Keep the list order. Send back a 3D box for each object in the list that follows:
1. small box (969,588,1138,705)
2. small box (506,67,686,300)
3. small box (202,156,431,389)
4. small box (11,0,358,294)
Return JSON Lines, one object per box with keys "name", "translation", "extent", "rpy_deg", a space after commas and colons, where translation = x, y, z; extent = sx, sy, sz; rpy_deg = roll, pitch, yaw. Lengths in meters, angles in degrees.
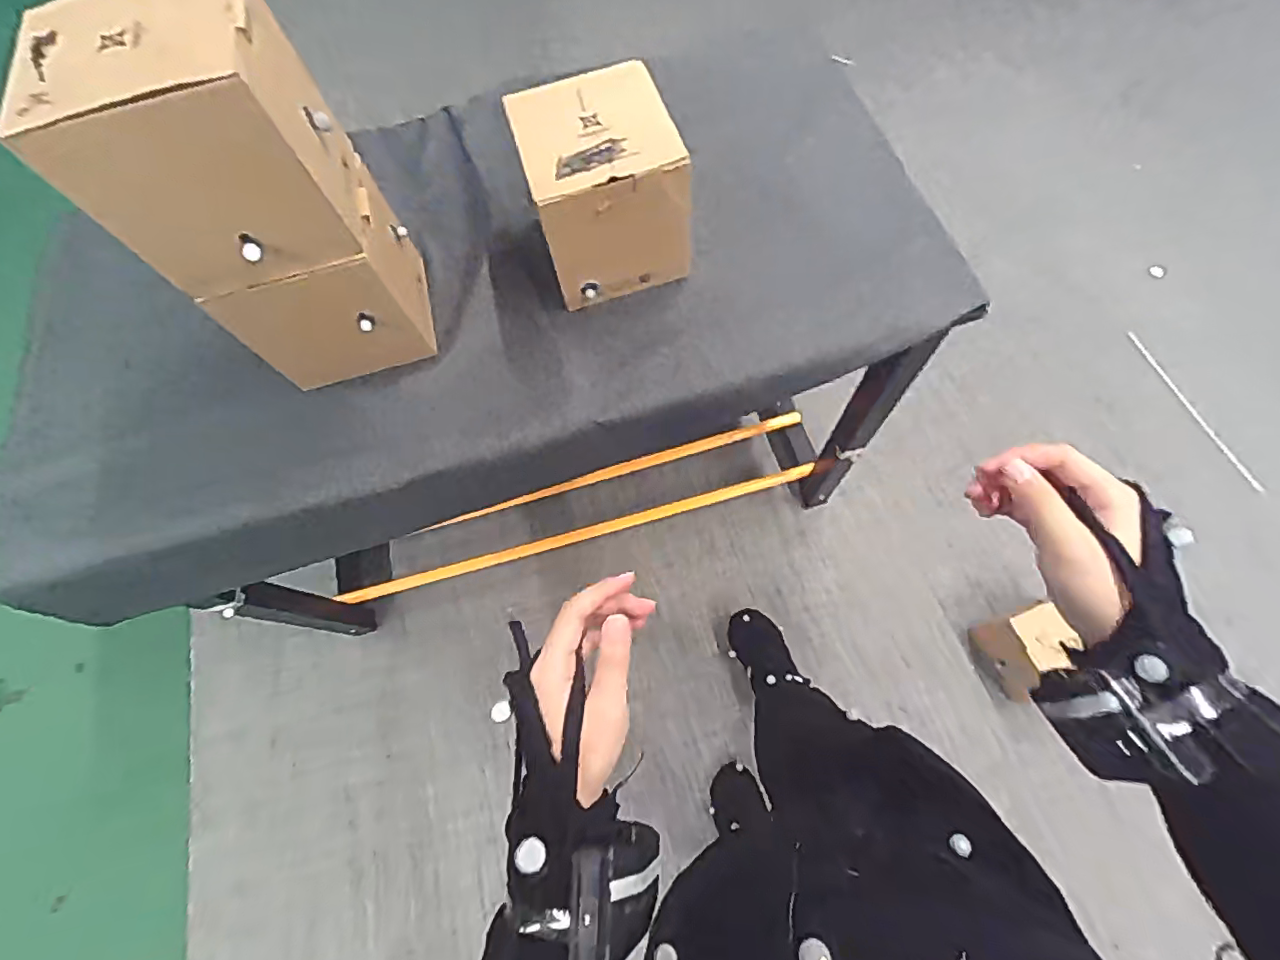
{"name": "small box", "translation": [0.820, 0.339, 1.095], "extent": [0.179, 0.176, 0.168], "rpy_deg": [-22, 67, -4]}
{"name": "small box", "translation": [-0.045, -0.344, 0.657], "extent": [0.168, 0.176, 0.179], "rpy_deg": [-17, 67, -3]}
{"name": "small box", "translation": [-0.364, -0.235, 0.640], "extent": [0.179, 0.176, 0.168], "rpy_deg": [-16, 66, -2]}
{"name": "small box", "translation": [-0.380, -0.303, 0.491], "extent": [0.179, 0.176, 0.168], "rpy_deg": [-17, 67, -3]}
